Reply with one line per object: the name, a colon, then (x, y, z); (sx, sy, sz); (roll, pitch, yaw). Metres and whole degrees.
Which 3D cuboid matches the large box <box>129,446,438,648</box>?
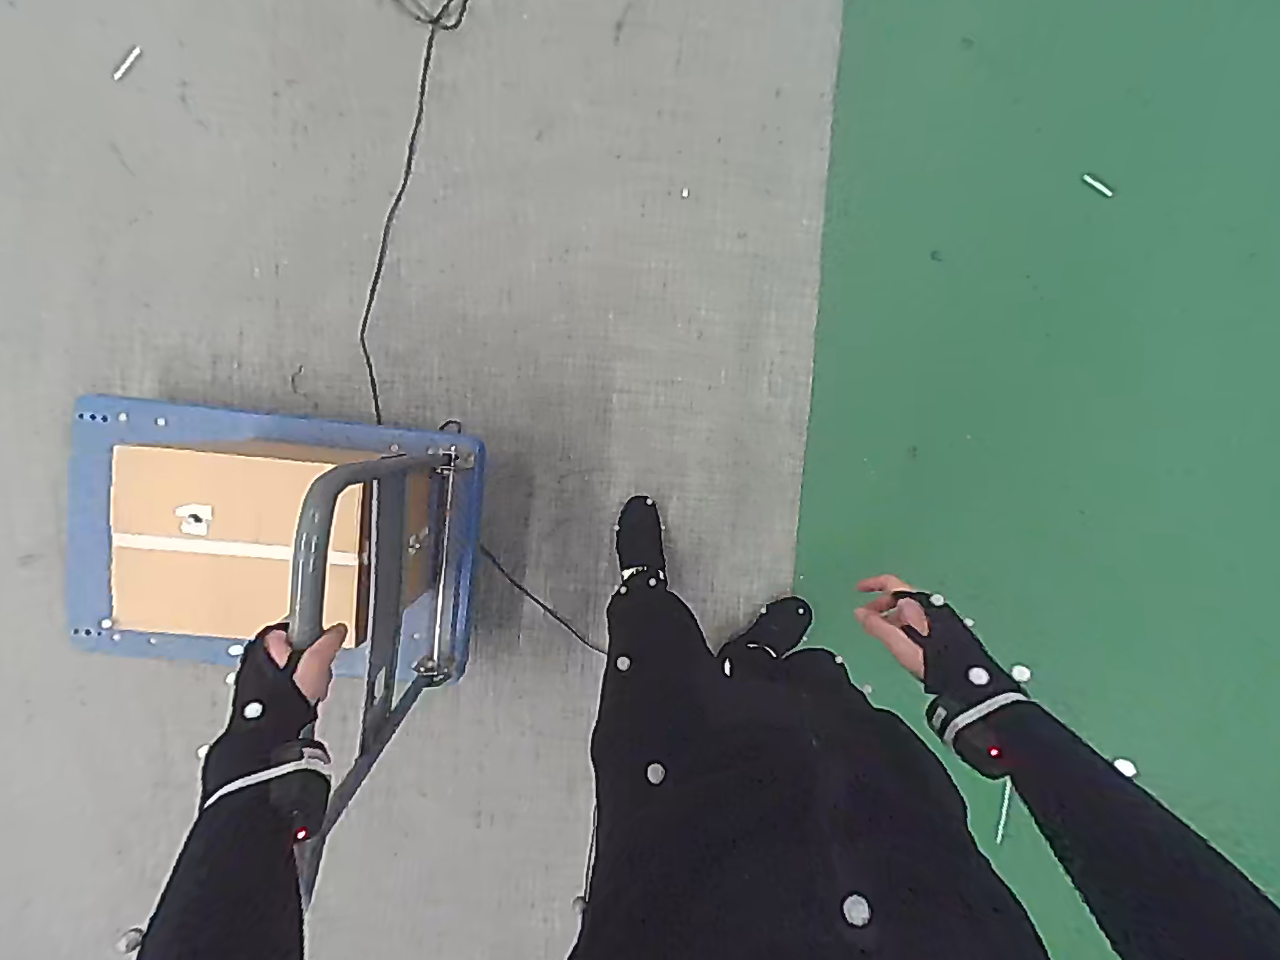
large box: (-0.646, 0.105, 1.049); (0.408, 0.320, 0.320); (5, 94, -1)
